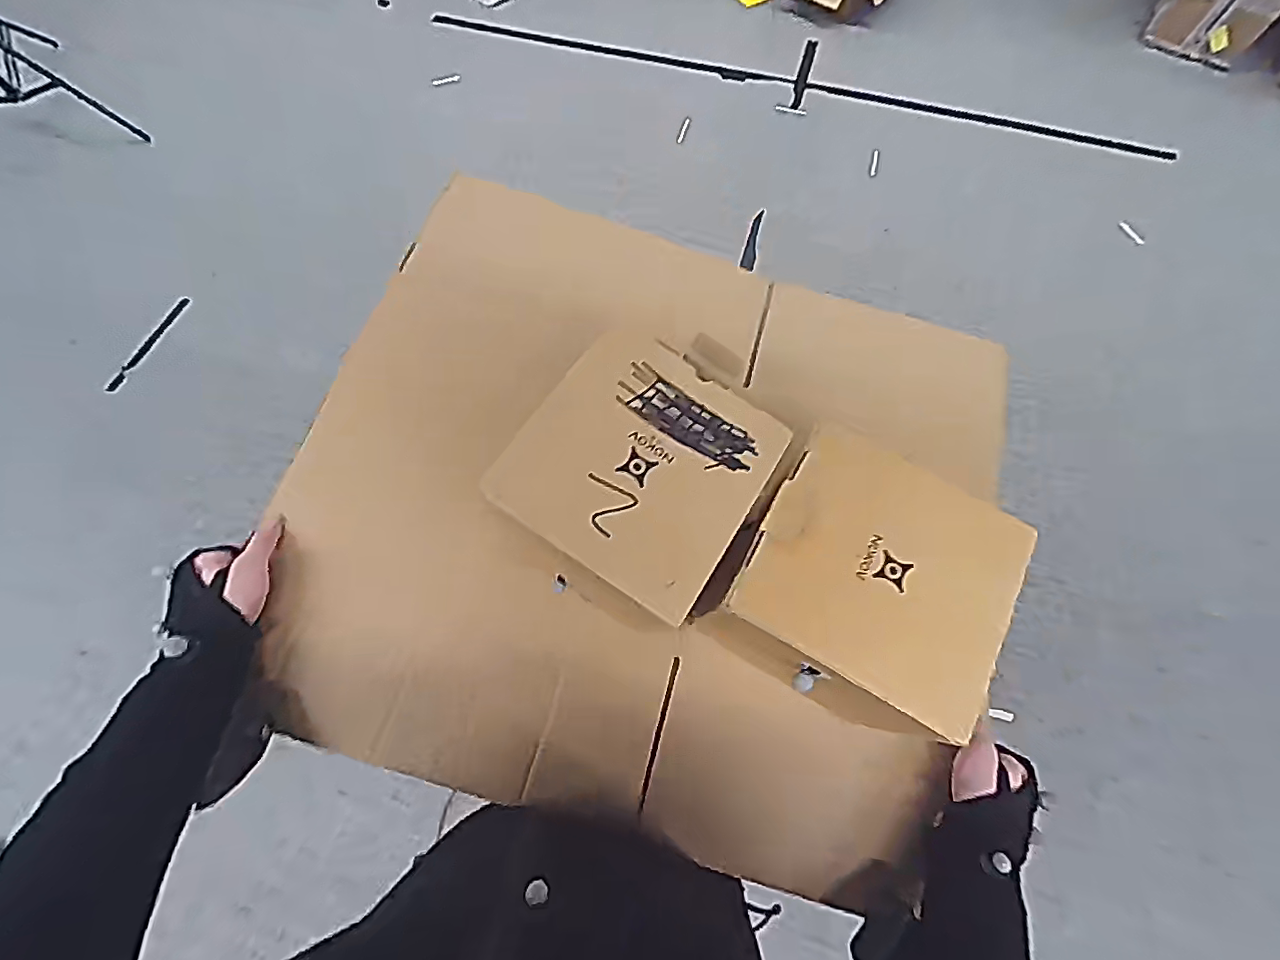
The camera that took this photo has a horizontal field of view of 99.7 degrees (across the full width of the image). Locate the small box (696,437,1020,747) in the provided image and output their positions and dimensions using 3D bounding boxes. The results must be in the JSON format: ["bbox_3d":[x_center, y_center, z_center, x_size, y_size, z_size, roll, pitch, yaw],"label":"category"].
[{"bbox_3d":[0.167,0.096,0.465,0.179,0.176,0.168,28,71,9],"label":"small box"}]
